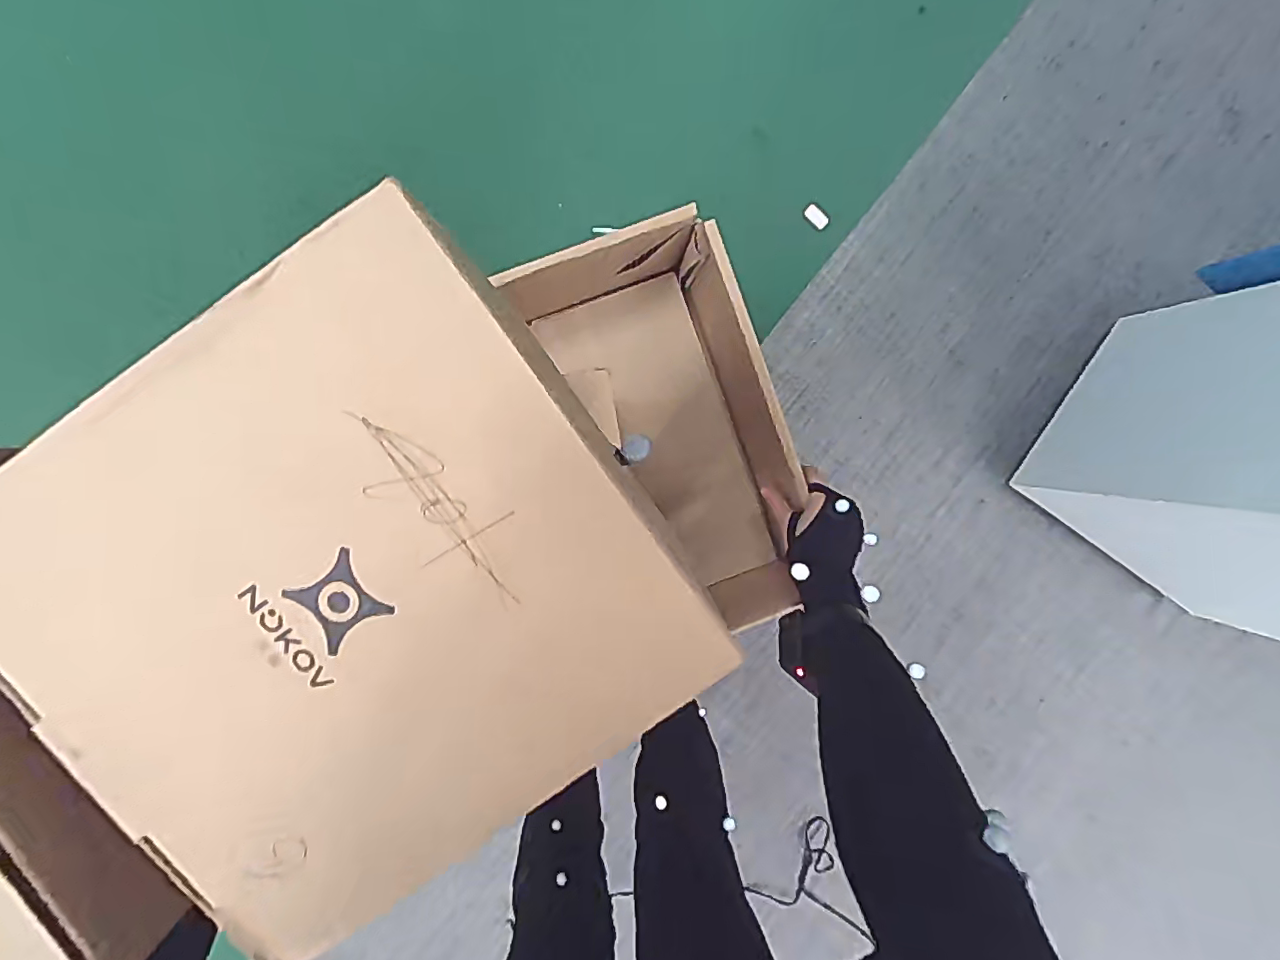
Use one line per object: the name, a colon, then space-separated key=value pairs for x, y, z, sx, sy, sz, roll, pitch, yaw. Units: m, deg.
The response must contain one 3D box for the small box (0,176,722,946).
small box: x=-0.090 y=0.023 z=0.237 sx=0.179 sy=0.176 sz=0.168 roll=-35 pitch=95 yaw=1
